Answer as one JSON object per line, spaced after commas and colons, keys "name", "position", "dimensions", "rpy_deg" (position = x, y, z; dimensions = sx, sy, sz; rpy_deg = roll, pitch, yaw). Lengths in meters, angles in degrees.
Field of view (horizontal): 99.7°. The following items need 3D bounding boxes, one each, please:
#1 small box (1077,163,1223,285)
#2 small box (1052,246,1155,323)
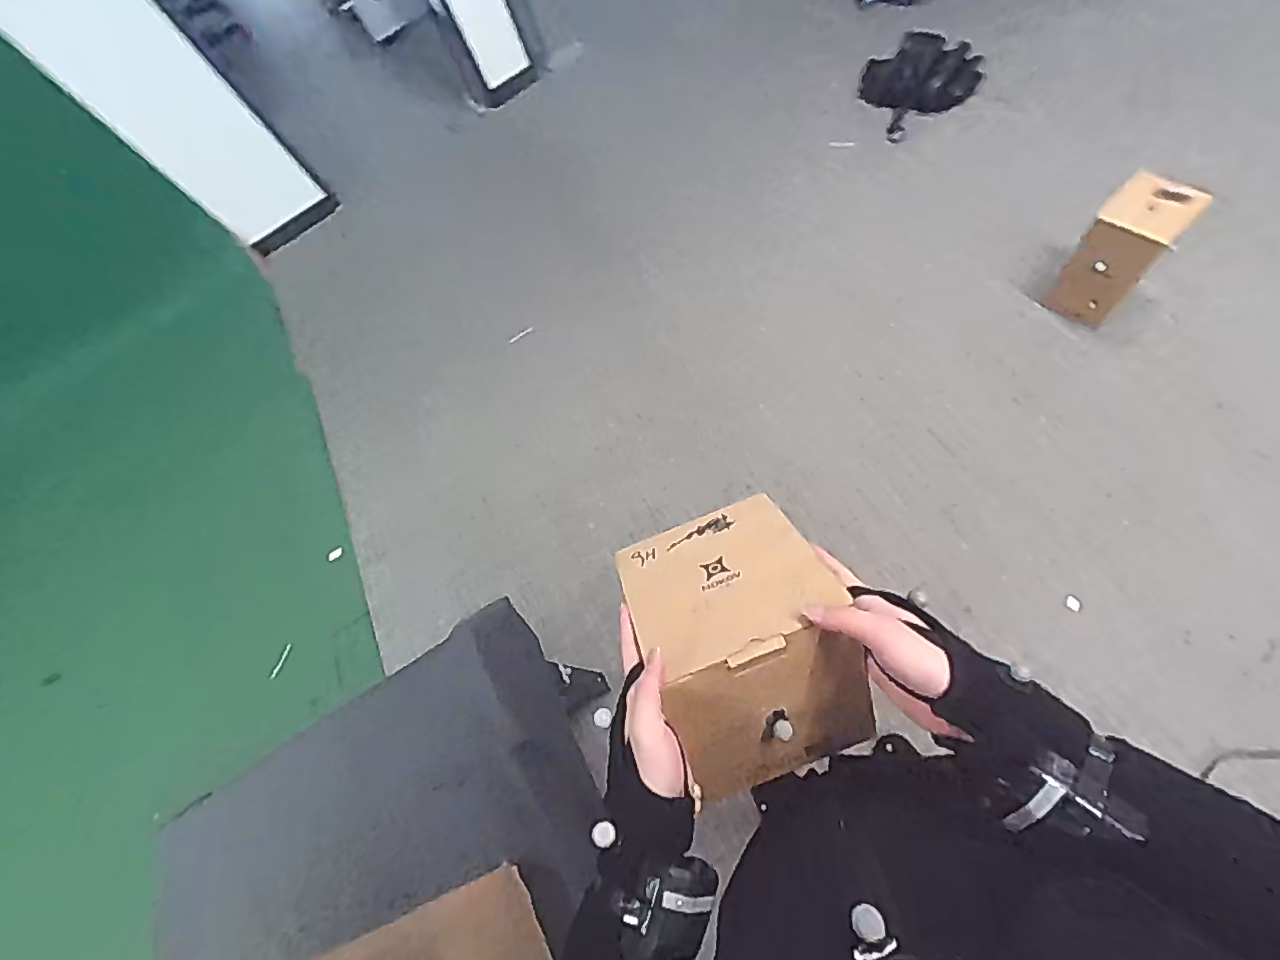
{"name": "small box", "position": [1.235, -0.623, 1.328], "dimensions": [0.179, 0.176, 0.168], "rpy_deg": [-44, 63, -4]}
{"name": "small box", "position": [1.277, -0.567, 1.478], "dimensions": [0.179, 0.176, 0.168], "rpy_deg": [-44, 64, -6]}
